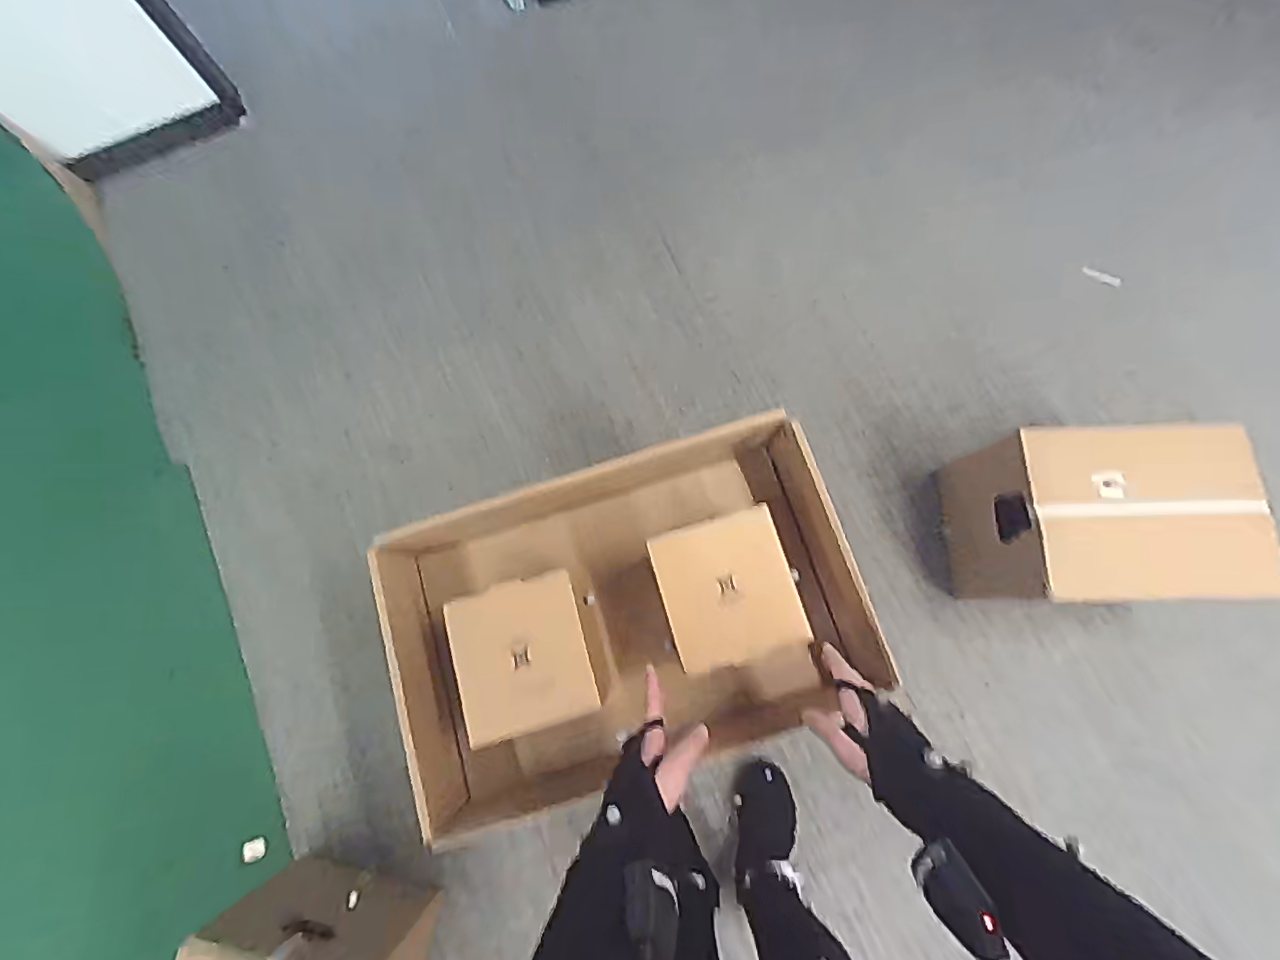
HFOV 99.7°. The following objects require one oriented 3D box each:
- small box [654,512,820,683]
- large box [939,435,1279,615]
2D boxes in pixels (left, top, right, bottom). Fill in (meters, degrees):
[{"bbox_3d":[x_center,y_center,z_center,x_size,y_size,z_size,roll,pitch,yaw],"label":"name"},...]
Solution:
[{"bbox_3d":[0.118,0.161,0.746,0.168,0.176,0.179,-16,78,-2],"label":"small box"},{"bbox_3d":[0.902,0.108,1.098,0.408,0.320,0.320,-1,76,2],"label":"large box"}]
